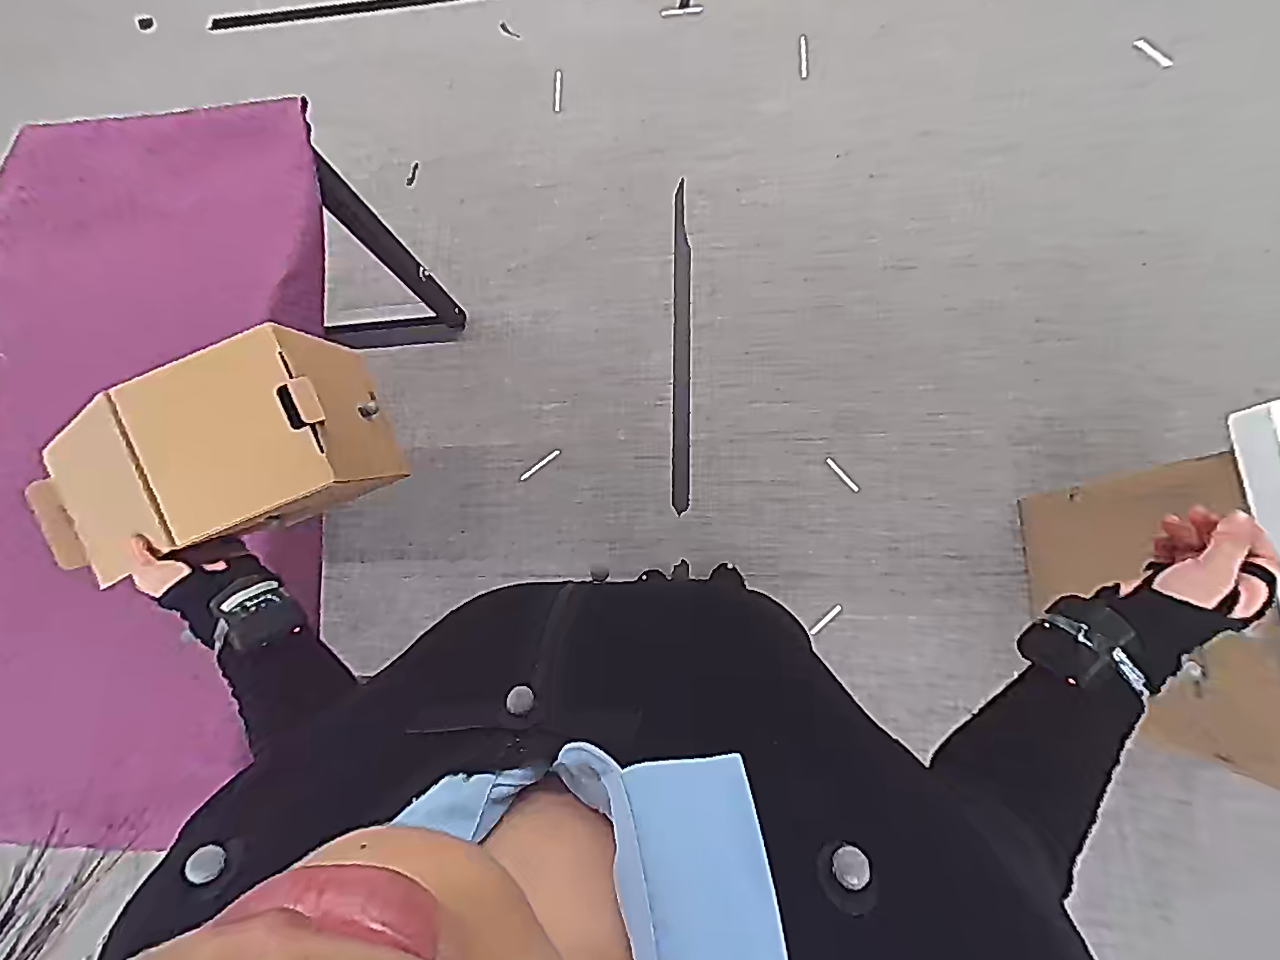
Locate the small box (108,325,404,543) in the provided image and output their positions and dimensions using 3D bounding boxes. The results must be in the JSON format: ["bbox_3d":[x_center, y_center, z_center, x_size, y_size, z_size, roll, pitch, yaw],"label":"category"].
[{"bbox_3d":[-0.402,-0.045,0.599,0.179,0.176,0.168,-22,93,1],"label":"small box"}]
